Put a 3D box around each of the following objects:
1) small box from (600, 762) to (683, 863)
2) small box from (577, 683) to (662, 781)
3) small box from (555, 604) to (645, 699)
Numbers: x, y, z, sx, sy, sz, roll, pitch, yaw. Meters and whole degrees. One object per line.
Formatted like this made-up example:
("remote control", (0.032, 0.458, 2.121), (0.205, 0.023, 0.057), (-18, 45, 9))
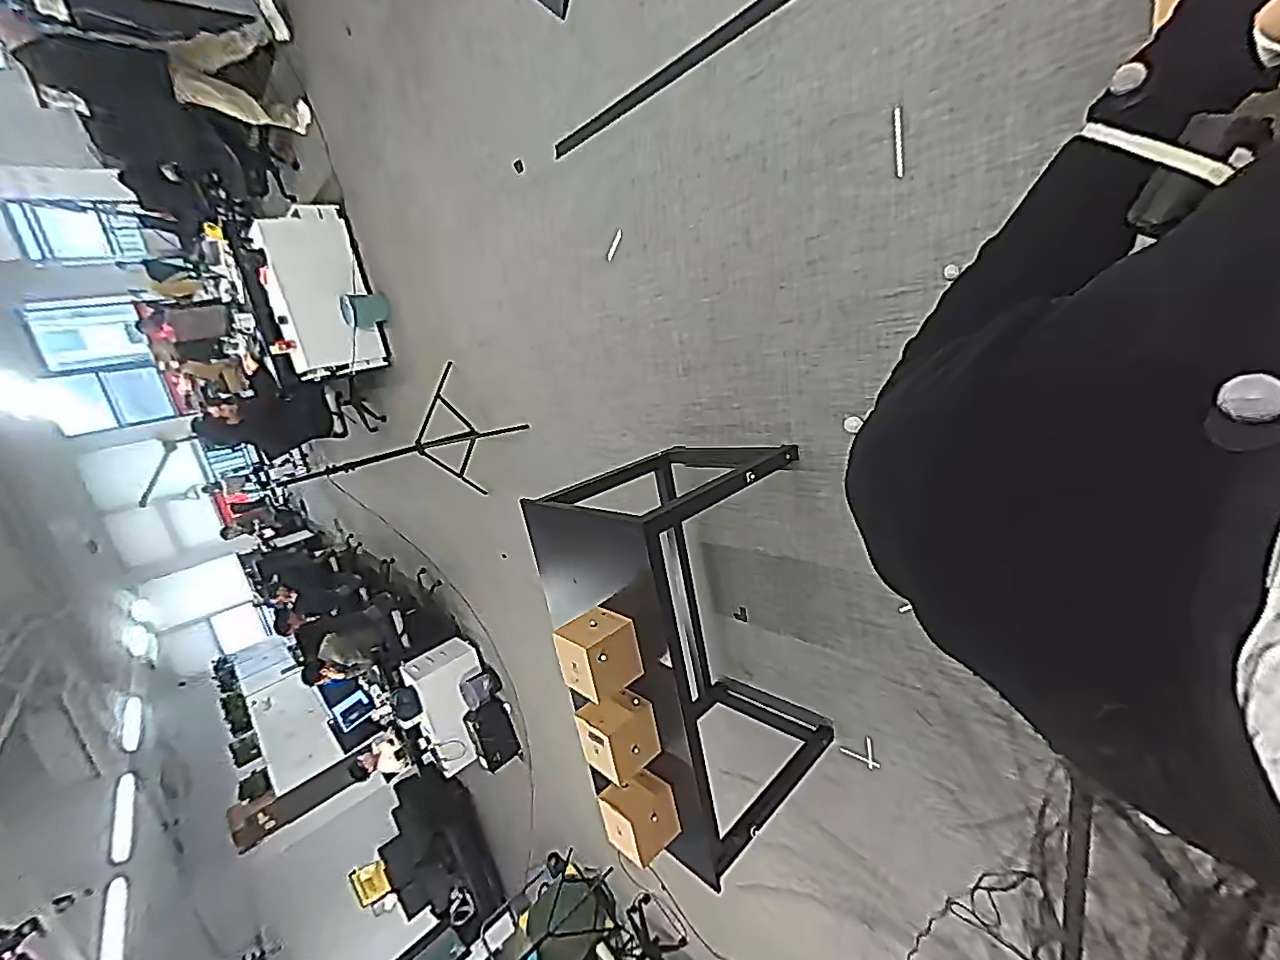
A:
("small box", (0.008, 1.010, 1.666), (0.168, 0.176, 0.179), (3, 111, 50))
("small box", (-0.057, 0.731, 1.597), (0.168, 0.176, 0.179), (7, 114, 48))
("small box", (-0.110, 0.474, 1.529), (0.168, 0.176, 0.179), (6, 113, 49))
